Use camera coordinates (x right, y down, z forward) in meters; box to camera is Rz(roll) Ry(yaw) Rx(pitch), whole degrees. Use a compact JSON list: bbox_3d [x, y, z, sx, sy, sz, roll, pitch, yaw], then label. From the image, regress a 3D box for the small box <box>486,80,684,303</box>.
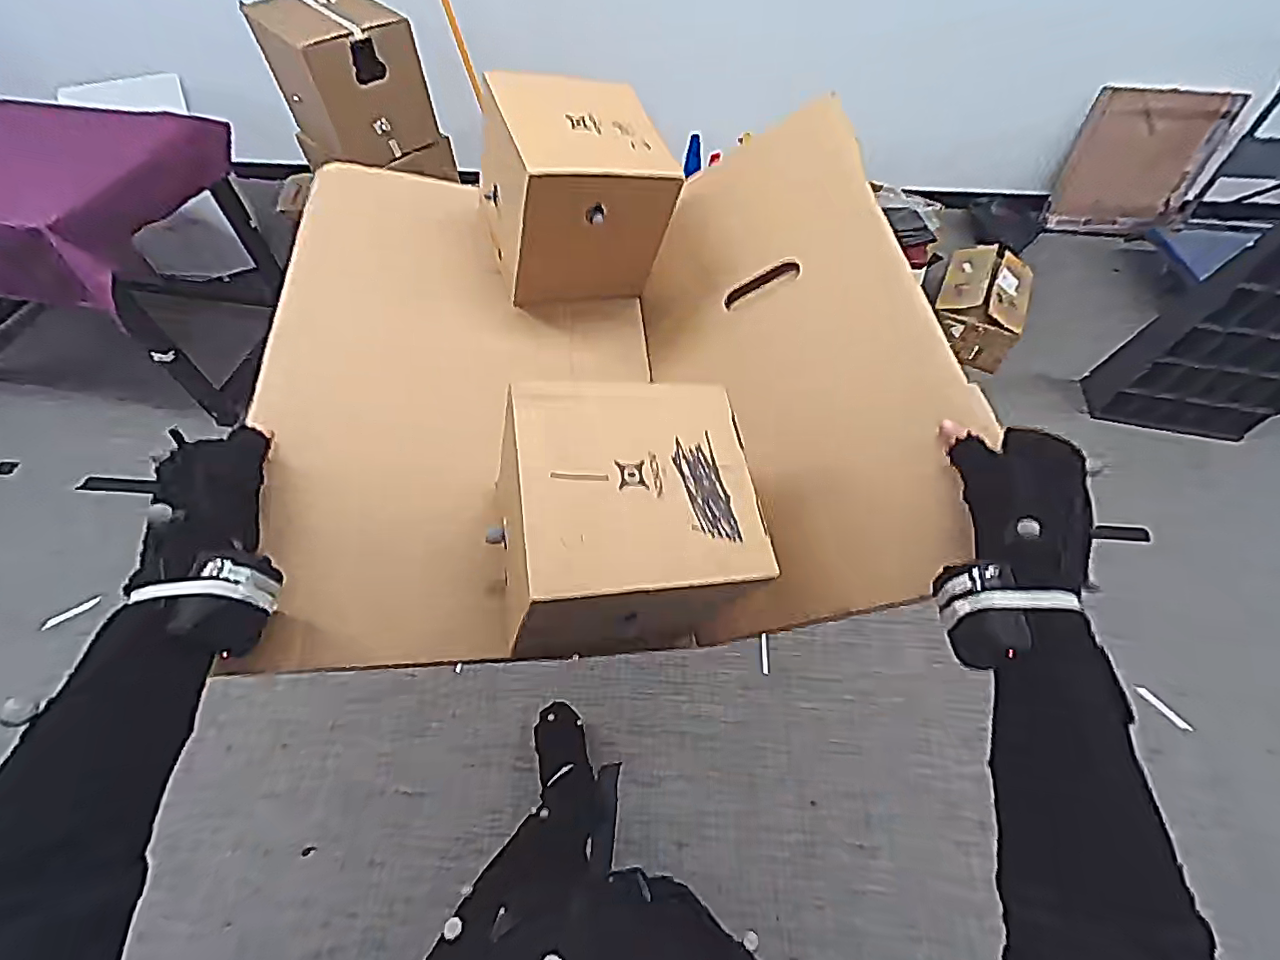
[{"bbox_3d":[-0.078,-0.329,0.641,0.179,0.176,0.168,-12,67,-24],"label":"small box"}]
